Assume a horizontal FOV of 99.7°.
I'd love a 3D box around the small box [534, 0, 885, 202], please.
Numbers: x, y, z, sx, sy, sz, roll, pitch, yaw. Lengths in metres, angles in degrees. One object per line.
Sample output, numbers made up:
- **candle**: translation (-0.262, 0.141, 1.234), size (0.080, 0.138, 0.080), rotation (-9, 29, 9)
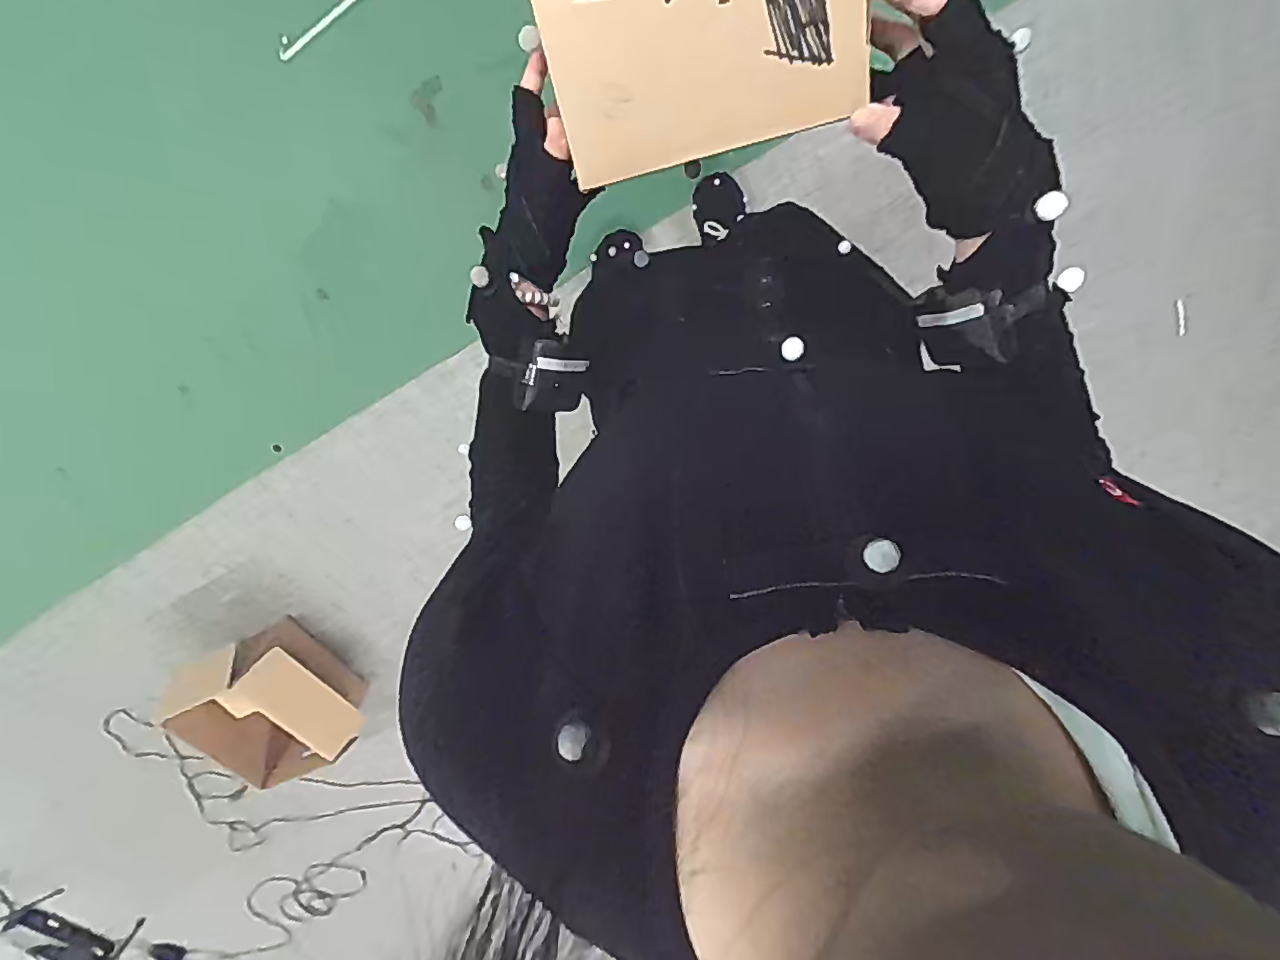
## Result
- **small box**: translation (0.028, -0.291, 0.333), size (0.179, 0.176, 0.168), rotation (-14, 123, 4)
